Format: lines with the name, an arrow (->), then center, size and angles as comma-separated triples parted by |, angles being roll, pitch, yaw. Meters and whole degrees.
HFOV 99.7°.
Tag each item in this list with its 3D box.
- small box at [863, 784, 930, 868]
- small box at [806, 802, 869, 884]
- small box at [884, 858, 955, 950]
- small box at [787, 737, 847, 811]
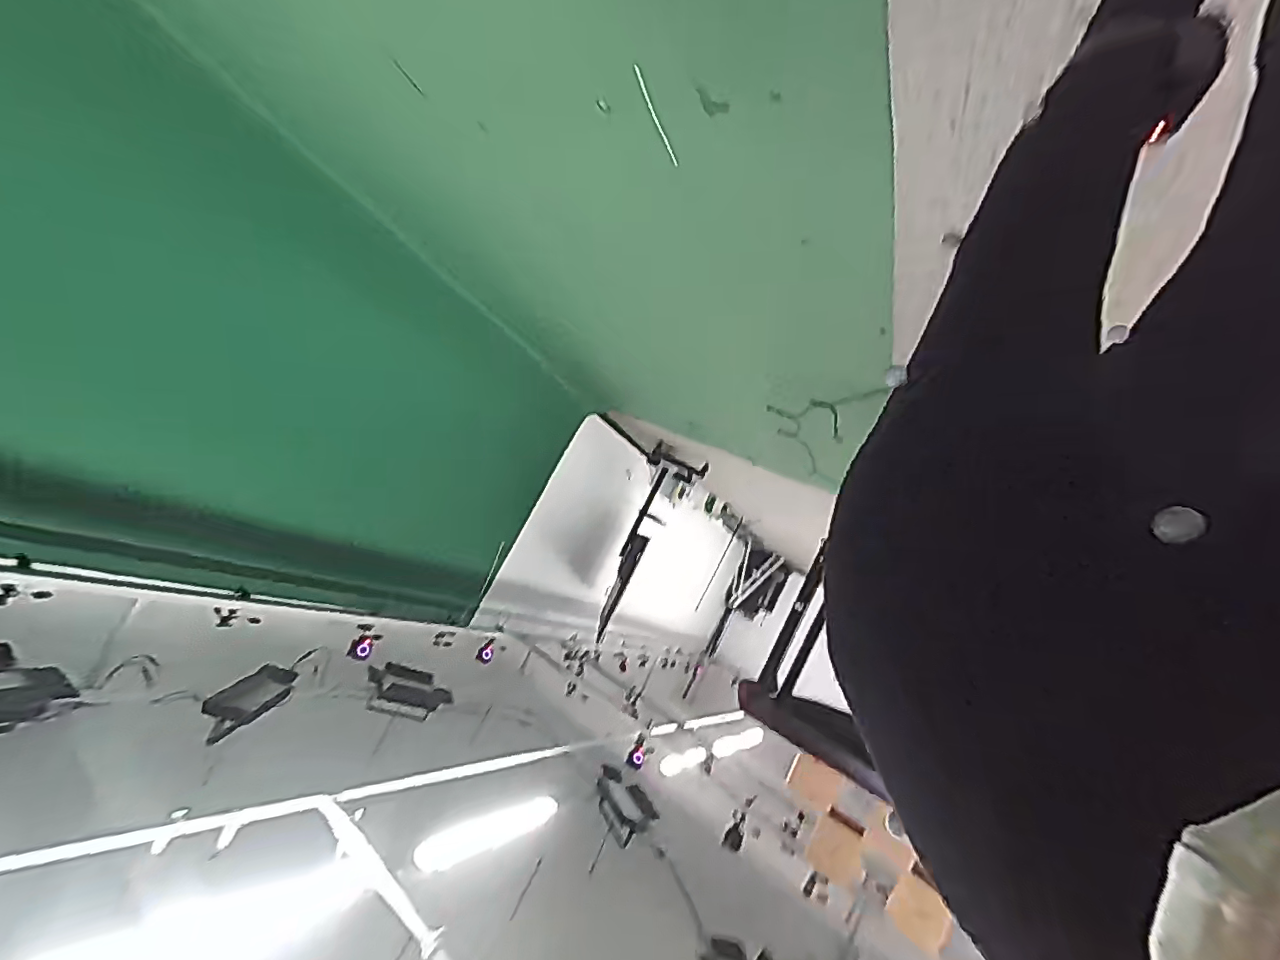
small box -> 0.910, 1.217, 1.919 | 0.168, 0.176, 0.179 | 24, 173, 29
small box -> 0.727, 1.316, 1.980 | 0.168, 0.176, 0.179 | 25, 175, 29
small box -> 0.951, 1.414, 1.826 | 0.168, 0.176, 0.179 | 25, 175, 37
small box -> 0.678, 1.113, 2.067 | 0.168, 0.176, 0.179 | 24, 175, 23
